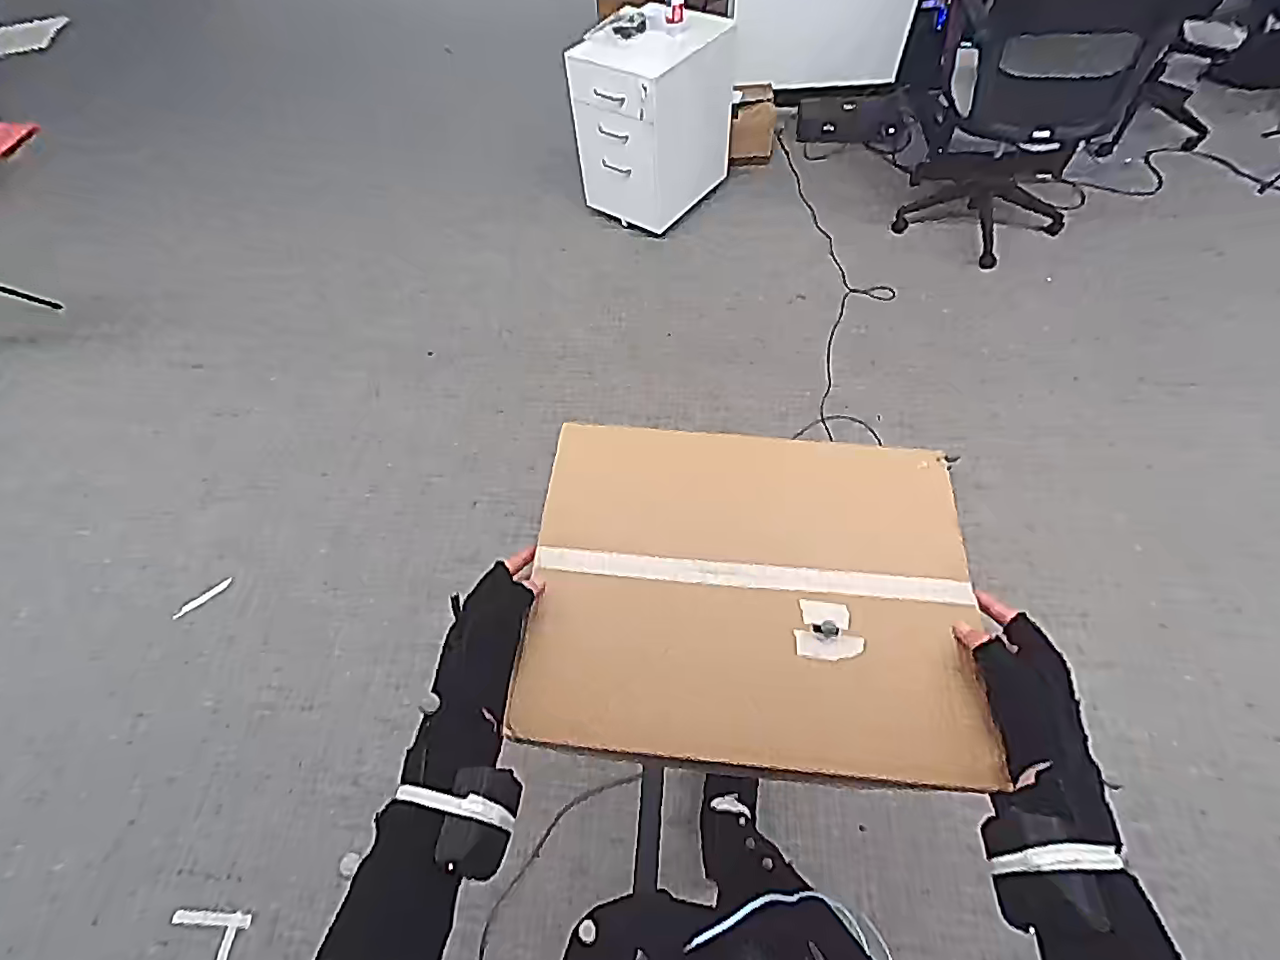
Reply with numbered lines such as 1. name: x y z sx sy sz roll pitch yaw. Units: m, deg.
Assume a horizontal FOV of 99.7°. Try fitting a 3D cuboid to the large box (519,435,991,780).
1. large box: 0.104 0.168 0.652 0.408 0.320 0.320 5 62 3
